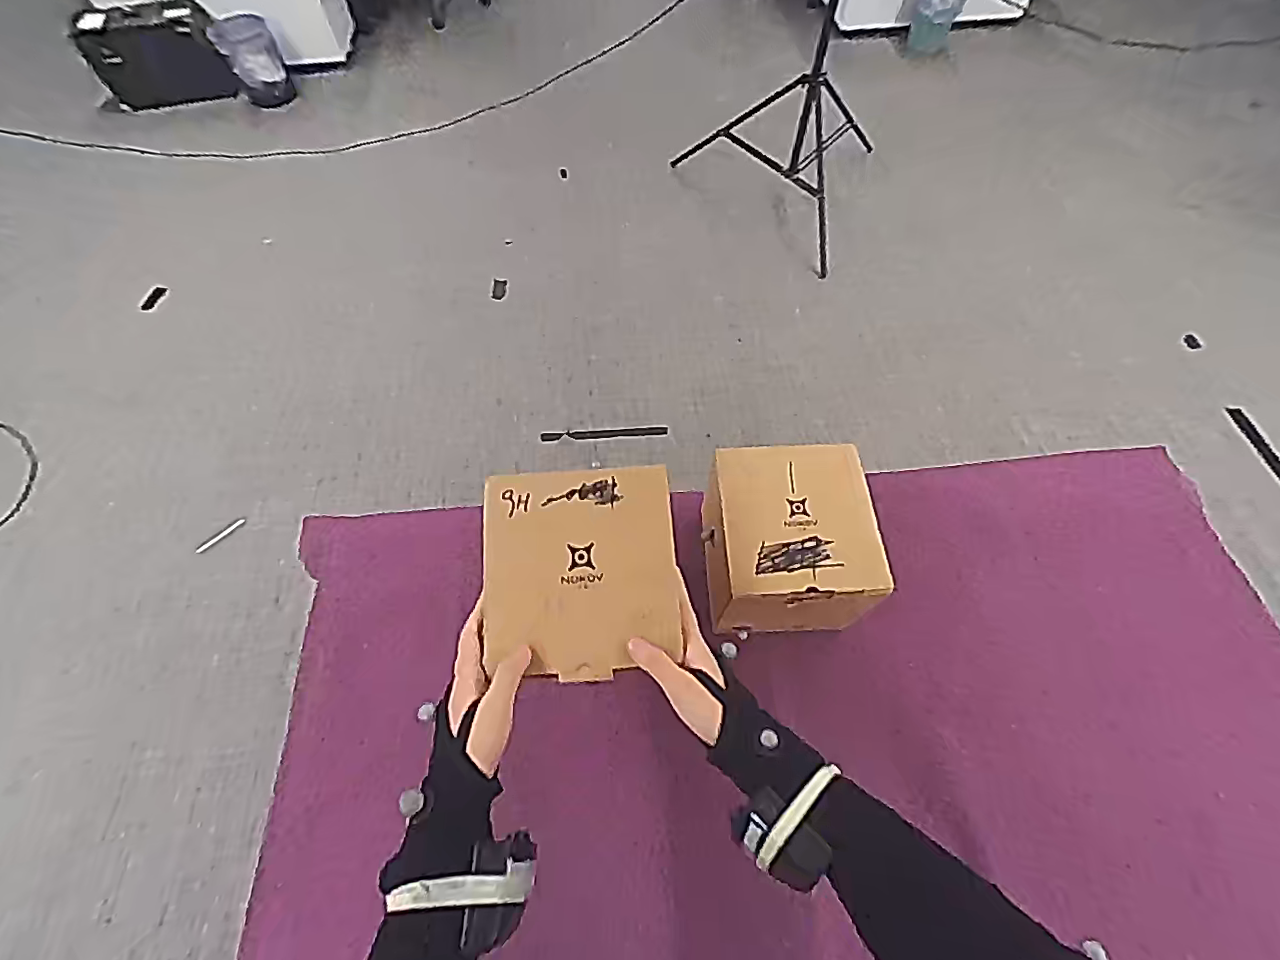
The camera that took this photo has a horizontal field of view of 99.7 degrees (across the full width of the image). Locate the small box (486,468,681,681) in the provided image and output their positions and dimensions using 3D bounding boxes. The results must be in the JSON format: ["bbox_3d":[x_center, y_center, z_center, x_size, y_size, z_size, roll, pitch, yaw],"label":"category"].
[{"bbox_3d":[-0.052,0.096,0.545,0.168,0.176,0.179,-3,76,-3],"label":"small box"}]

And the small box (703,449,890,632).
[{"bbox_3d":[0.170,0.081,0.651,0.168,0.176,0.179,-2,61,-1],"label":"small box"}]
